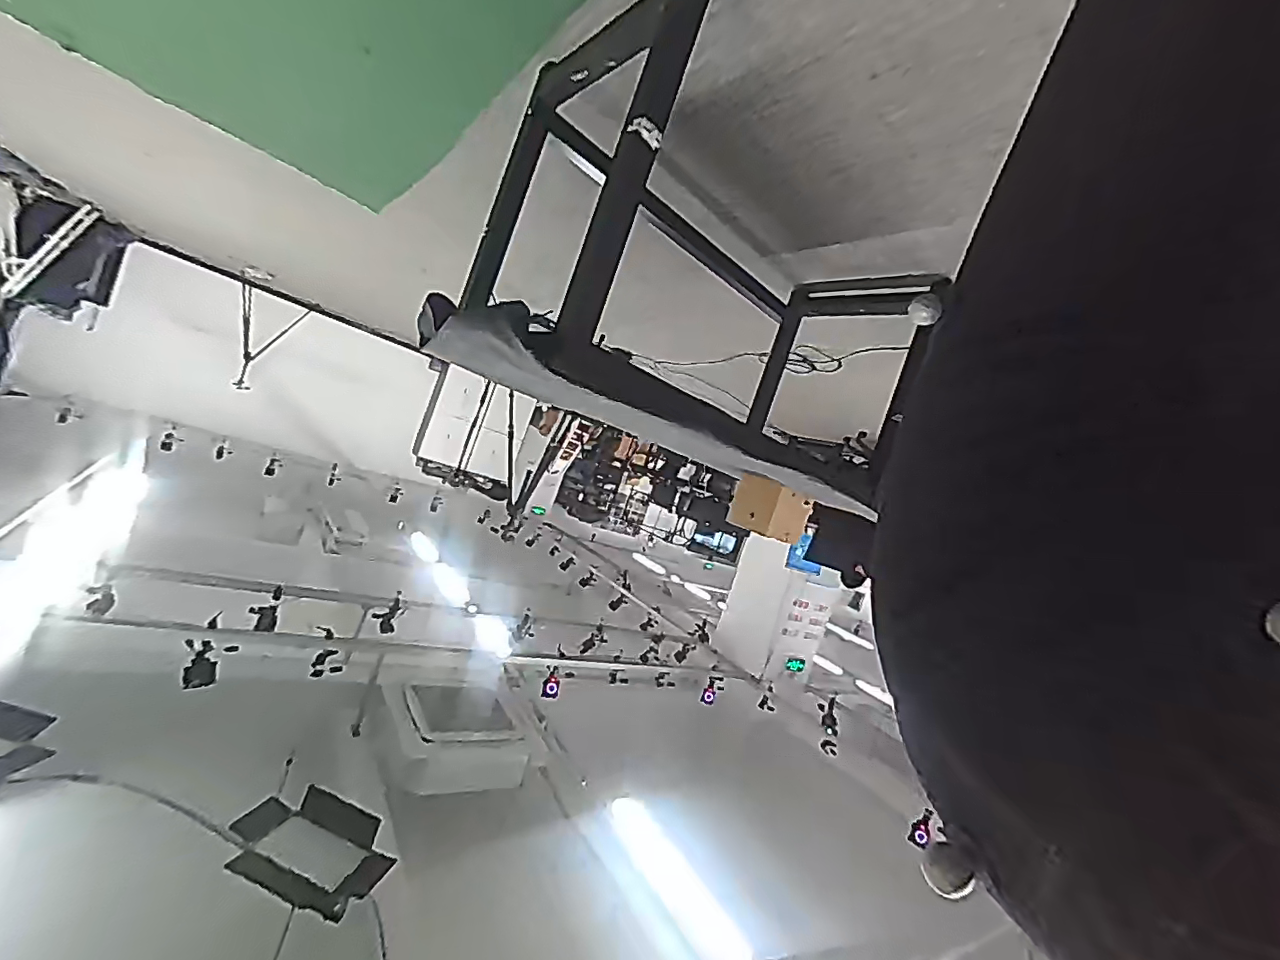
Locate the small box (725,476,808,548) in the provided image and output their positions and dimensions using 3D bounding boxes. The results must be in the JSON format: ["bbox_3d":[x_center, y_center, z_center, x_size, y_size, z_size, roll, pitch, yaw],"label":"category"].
[{"bbox_3d":[0.402,0.096,1.693,0.168,0.176,0.179,20,-179,-35],"label":"small box"}]
